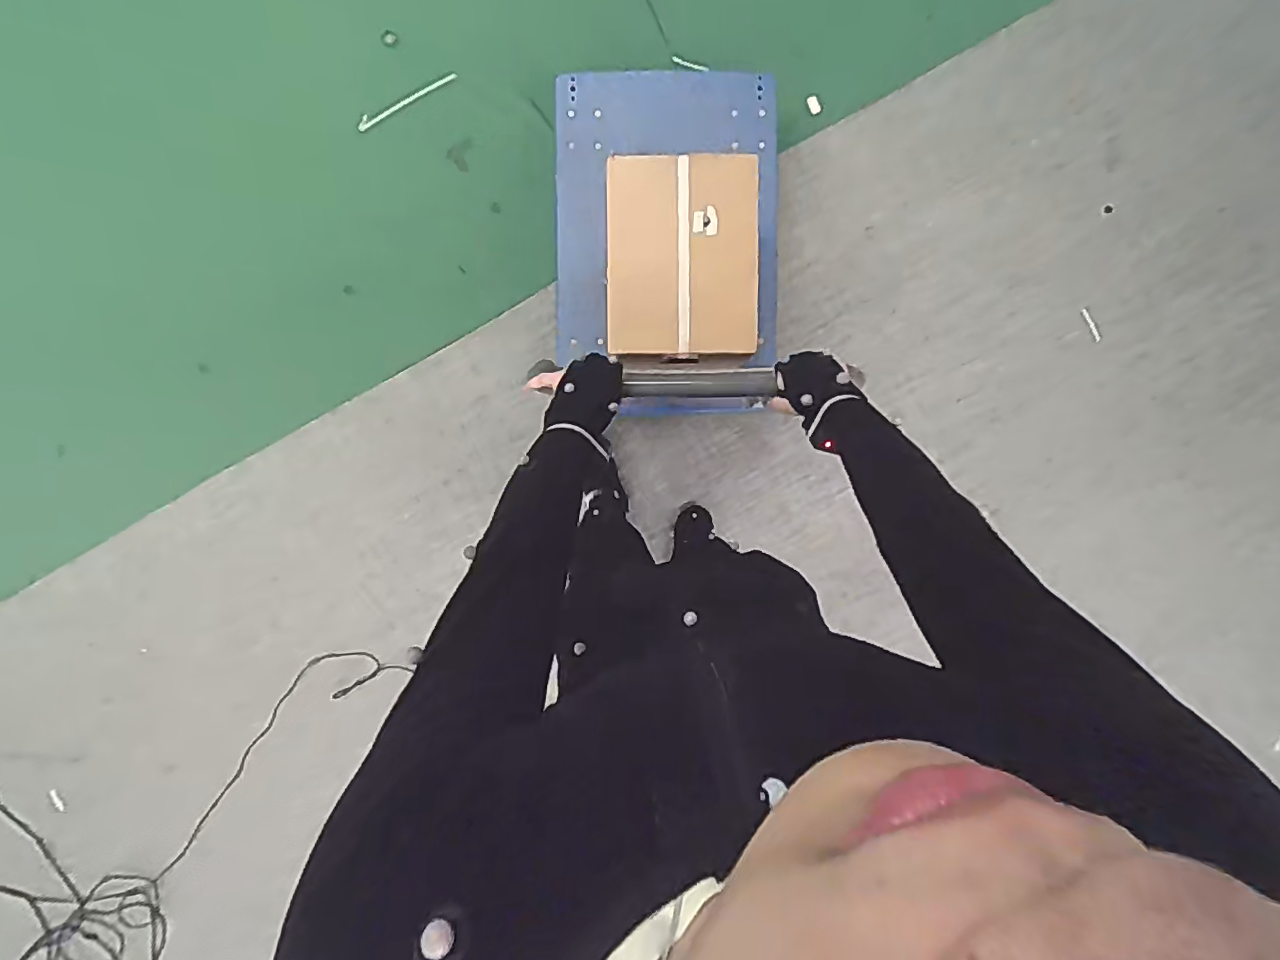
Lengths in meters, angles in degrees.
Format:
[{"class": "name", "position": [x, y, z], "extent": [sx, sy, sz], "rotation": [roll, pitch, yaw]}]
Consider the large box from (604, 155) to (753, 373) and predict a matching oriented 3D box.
[{"class": "large box", "position": [0.082, -0.479, 1.277], "extent": [0.320, 0.320, 0.408], "rotation": [0, 92, -1]}]
